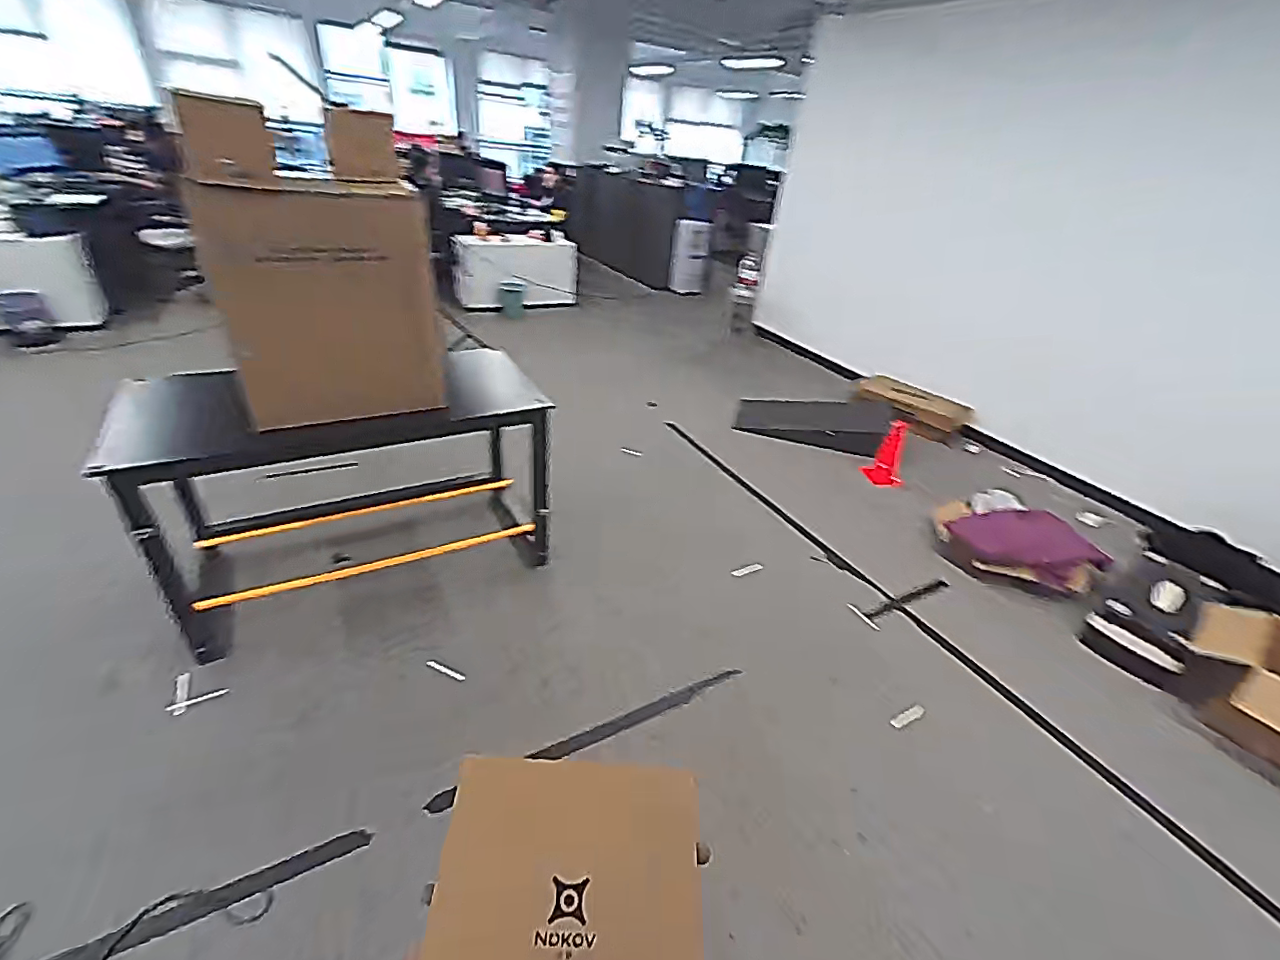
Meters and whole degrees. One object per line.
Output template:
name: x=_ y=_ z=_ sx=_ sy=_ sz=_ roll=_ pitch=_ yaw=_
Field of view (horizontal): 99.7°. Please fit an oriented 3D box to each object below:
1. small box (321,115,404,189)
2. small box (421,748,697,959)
small box: x=-0.783 y=-0.925 z=1.530 sx=0.168 sy=0.176 sz=0.179 roll=-16 pitch=37 yaw=-29
small box: x=-0.055 y=0.317 z=0.396 sx=0.168 sy=0.176 sz=0.179 roll=4 pitch=48 yaw=-4
